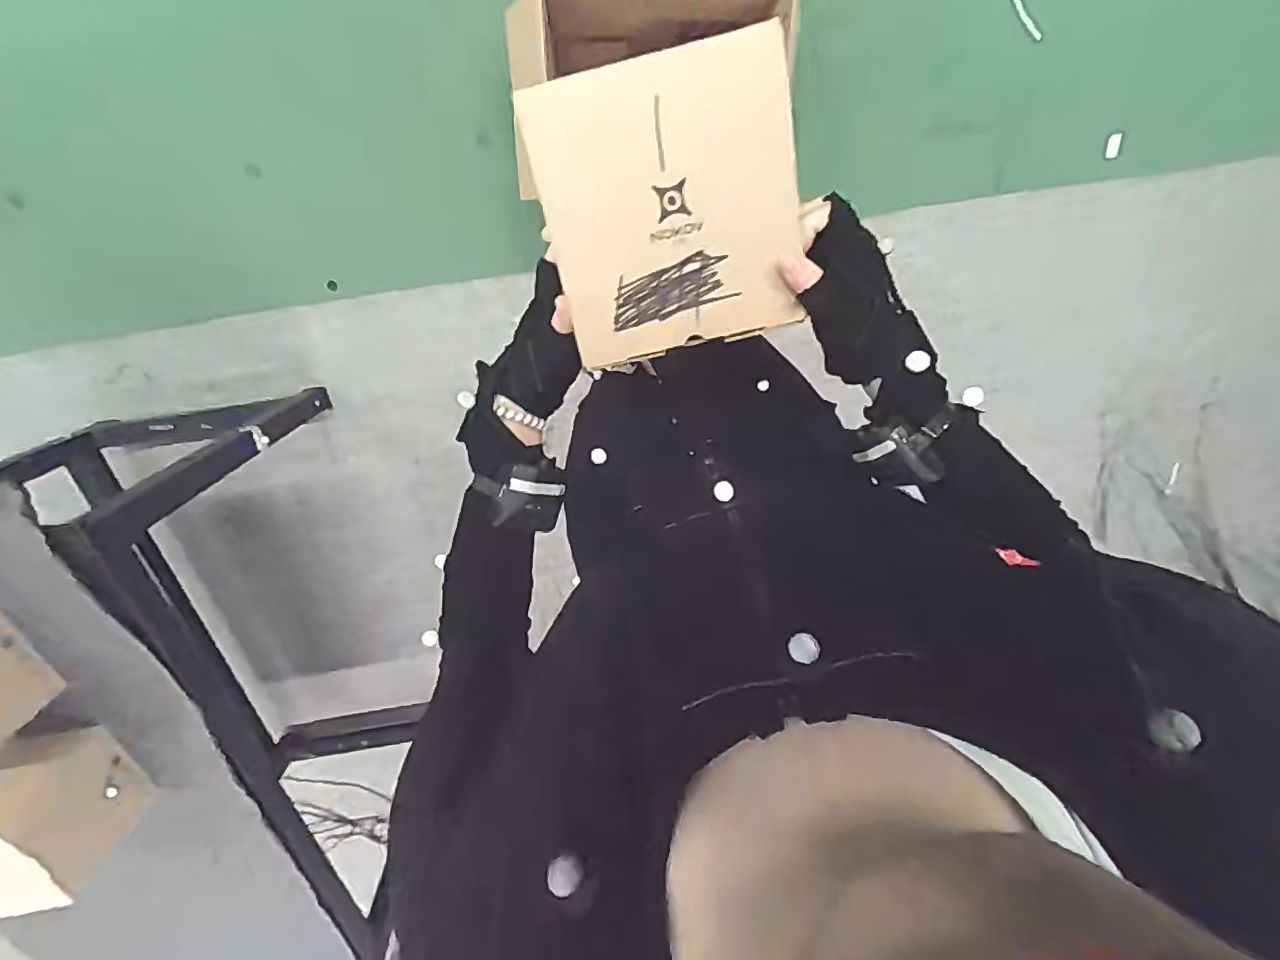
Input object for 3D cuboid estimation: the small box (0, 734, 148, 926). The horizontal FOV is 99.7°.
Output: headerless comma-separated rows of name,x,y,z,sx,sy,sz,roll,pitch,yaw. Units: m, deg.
small box,-0.885,0.499,0.775,0.179,0.176,0.168,-9,115,-1
